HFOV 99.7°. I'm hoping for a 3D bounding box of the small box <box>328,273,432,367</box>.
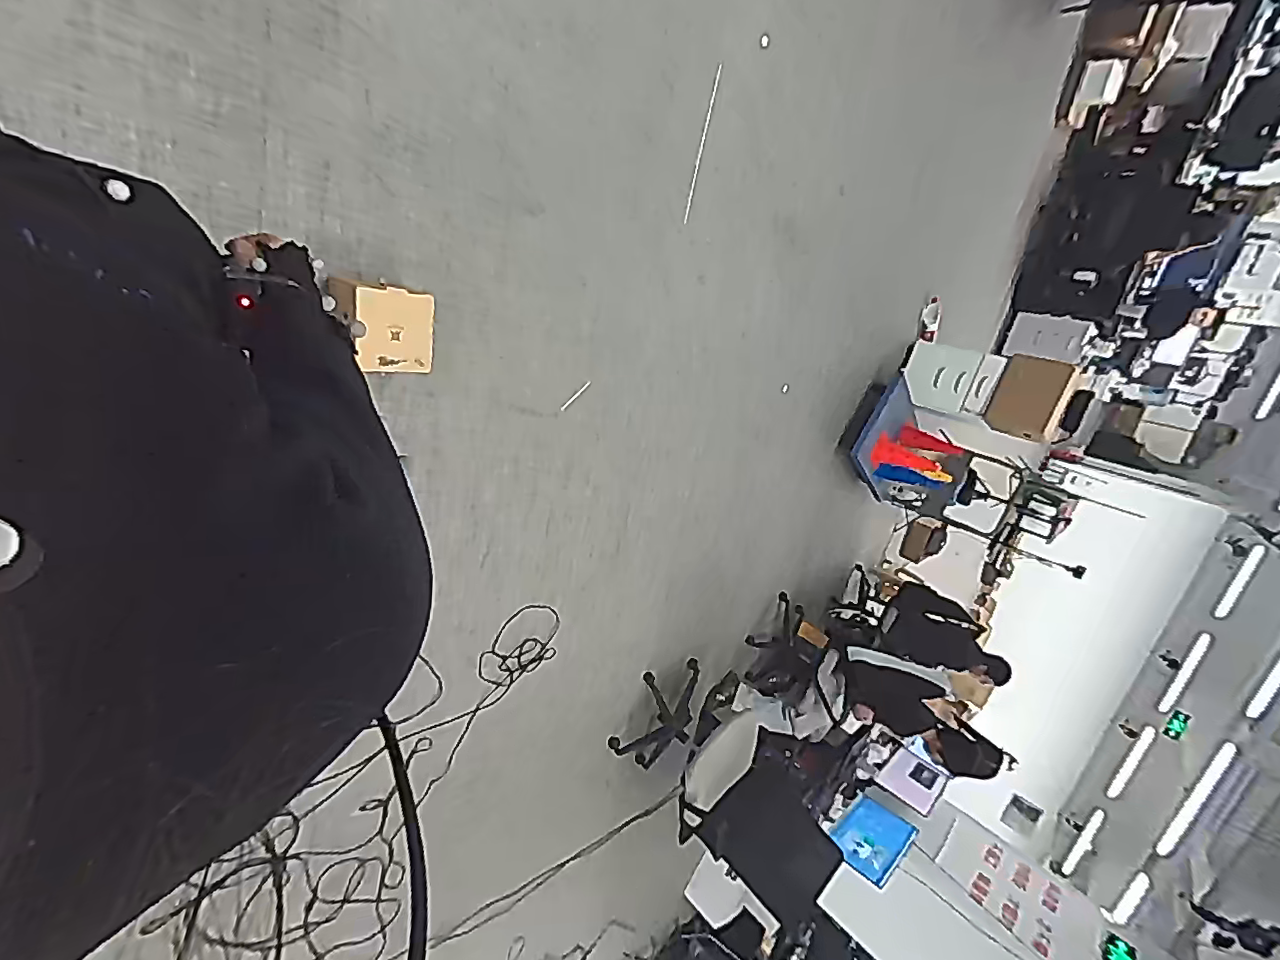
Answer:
[{"bbox_3d":[-0.585,-0.358,1.211,0.168,0.176,0.179,-9,117,-45],"label":"small box"}]
